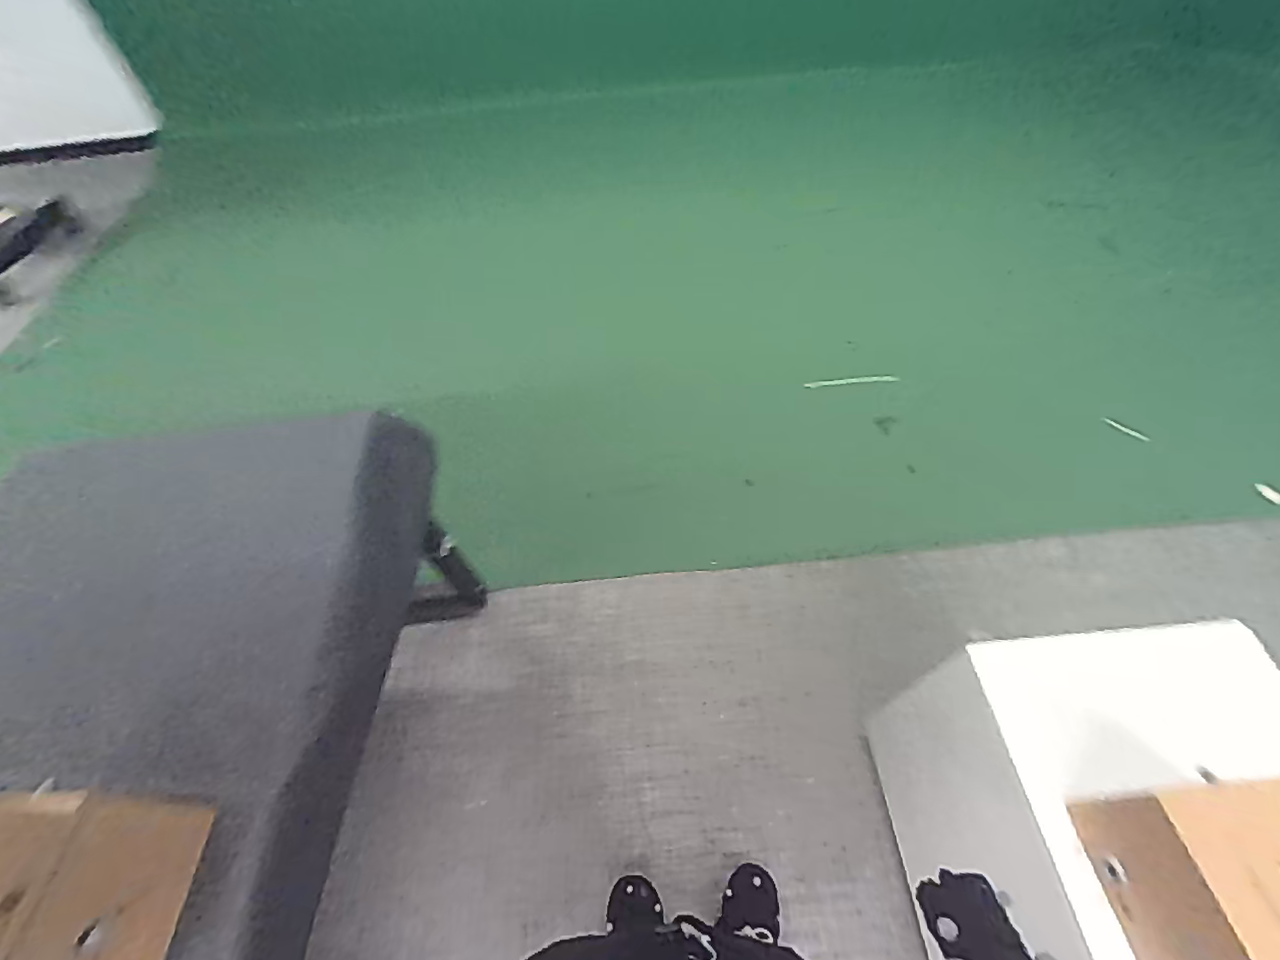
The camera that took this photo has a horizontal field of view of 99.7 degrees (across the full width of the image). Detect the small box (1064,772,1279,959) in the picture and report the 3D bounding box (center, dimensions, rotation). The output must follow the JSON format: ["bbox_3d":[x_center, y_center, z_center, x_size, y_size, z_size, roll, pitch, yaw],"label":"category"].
[{"bbox_3d":[0.602,0.405,0.554,0.179,0.176,0.168,-9,55,0],"label":"small box"}]

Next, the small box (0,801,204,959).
[{"bbox_3d":[-0.560,0.401,0.495,0.168,0.176,0.179,-4,56,3],"label":"small box"}]

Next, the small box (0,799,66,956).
[{"bbox_3d":[-0.578,0.307,0.360,0.179,0.176,0.168,-5,55,4],"label":"small box"}]
